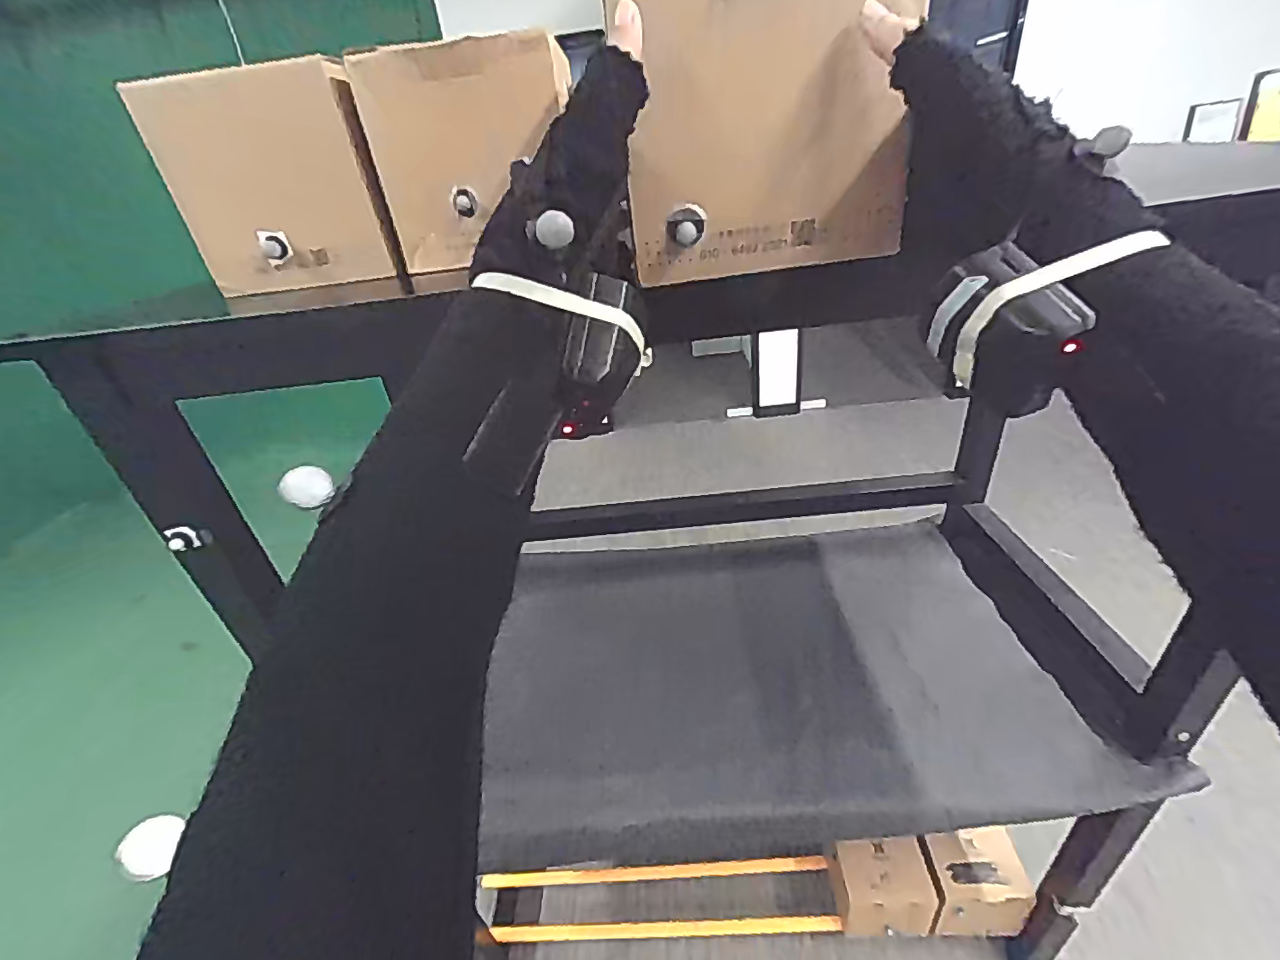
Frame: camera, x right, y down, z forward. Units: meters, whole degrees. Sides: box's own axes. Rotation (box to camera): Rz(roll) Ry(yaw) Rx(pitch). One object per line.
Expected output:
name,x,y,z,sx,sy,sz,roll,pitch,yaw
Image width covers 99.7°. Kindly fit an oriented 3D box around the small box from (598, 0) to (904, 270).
small box,0.066,-0.249,0.373,0.168,0.176,0.179,-6,30,2
